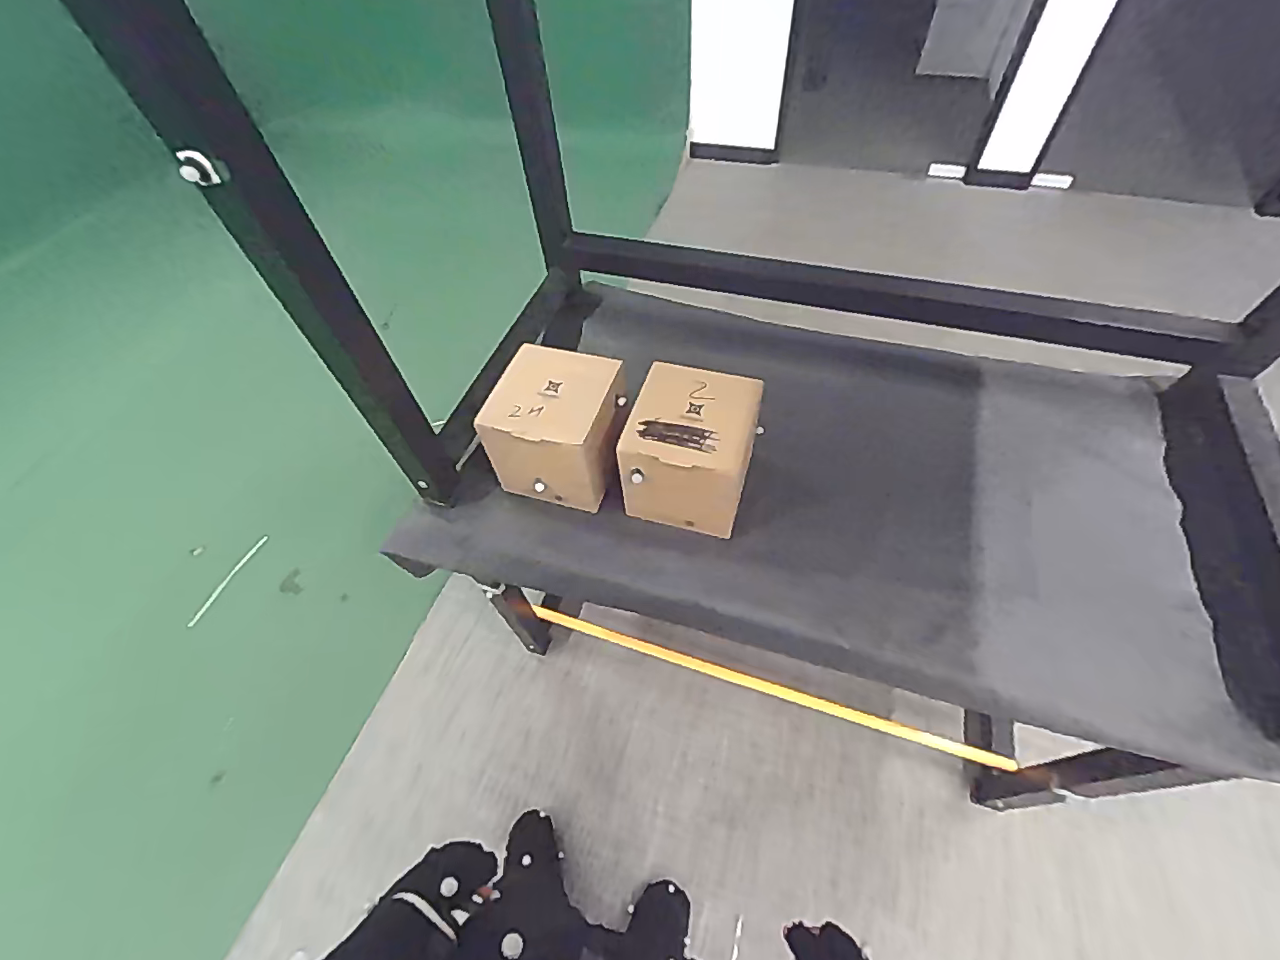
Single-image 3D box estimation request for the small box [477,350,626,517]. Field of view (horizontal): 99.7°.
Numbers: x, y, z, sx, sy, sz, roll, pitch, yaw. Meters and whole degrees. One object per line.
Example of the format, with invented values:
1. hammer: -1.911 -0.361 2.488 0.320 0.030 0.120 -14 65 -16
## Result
1. small box: -0.124 -0.071 0.846 0.168 0.176 0.179 12 56 12
